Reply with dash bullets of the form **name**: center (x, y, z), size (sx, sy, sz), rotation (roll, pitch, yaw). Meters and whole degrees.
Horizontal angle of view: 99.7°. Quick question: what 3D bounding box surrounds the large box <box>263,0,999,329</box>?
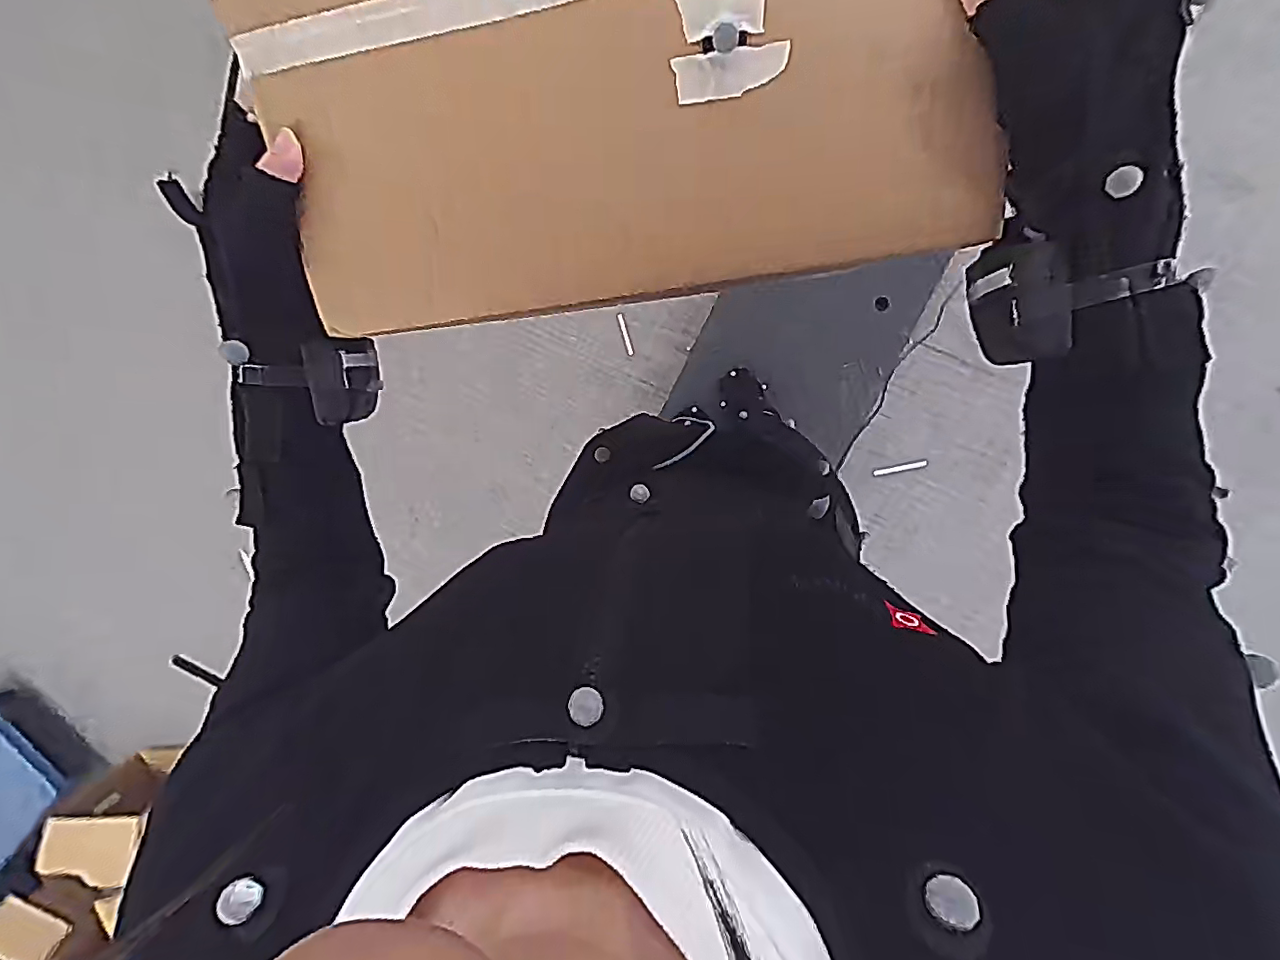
- **large box**: center (-0.003, -0.312, 0.430), size (0.408, 0.320, 0.320), rotation (-5, 108, 9)
